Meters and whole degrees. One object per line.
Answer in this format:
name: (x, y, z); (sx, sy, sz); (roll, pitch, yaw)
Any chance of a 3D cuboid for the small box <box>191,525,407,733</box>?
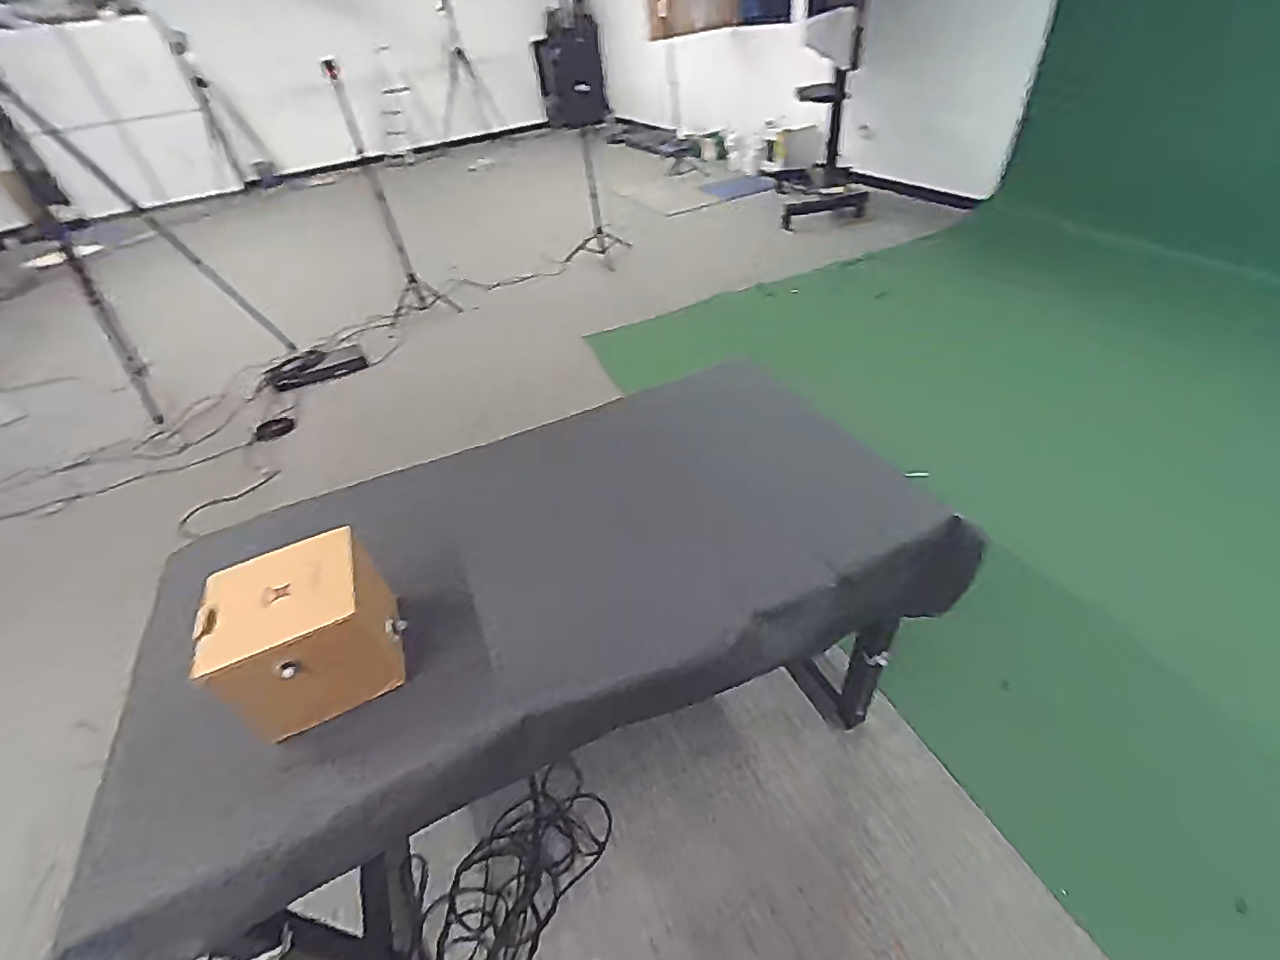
small box: (-0.436, 0.197, 0.716); (0.179, 0.176, 0.168); (-21, 44, -16)
